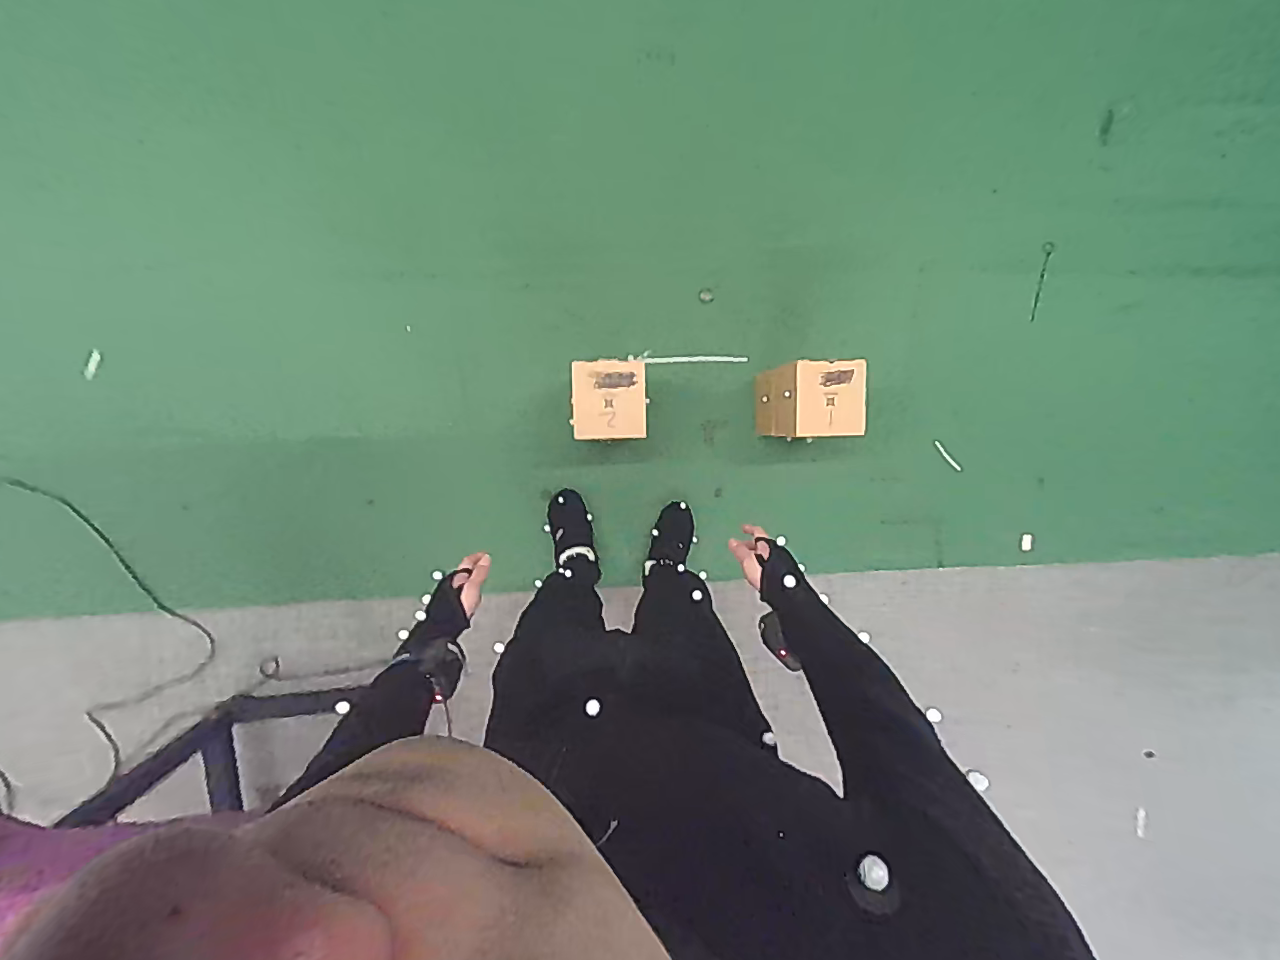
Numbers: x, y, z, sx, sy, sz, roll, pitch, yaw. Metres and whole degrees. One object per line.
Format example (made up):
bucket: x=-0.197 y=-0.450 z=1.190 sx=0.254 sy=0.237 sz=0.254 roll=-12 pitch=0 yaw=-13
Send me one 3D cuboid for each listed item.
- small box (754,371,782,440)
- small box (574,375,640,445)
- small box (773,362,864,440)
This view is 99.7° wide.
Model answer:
small box: x=0.415 y=-0.200 z=1.484 sx=0.168 sy=0.176 sz=0.179 roll=-1 pitch=95 yaw=-4
small box: x=-0.086 y=-0.185 z=1.451 sx=0.168 sy=0.176 sz=0.179 roll=-3 pitch=94 yaw=-4
small box: x=0.429 y=-0.188 z=1.321 sx=0.168 sy=0.176 sz=0.179 roll=-2 pitch=95 yaw=-4
